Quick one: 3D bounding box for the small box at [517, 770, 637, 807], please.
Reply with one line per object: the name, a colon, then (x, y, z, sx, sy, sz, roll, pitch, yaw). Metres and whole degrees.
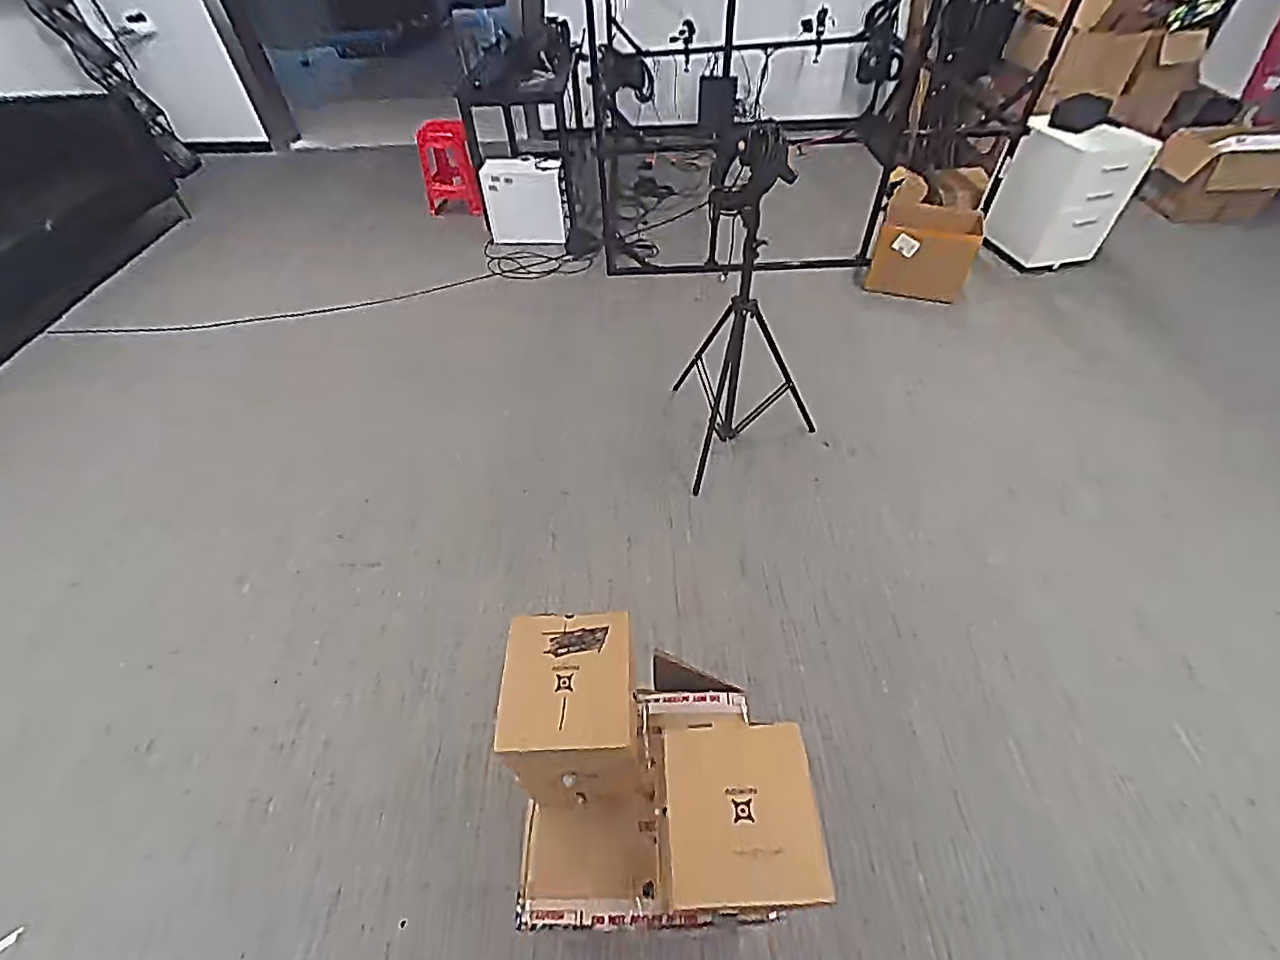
small box: (-0.096, 0.411, 0.878, 0.168, 0.176, 0.179, -6, 50, 0)

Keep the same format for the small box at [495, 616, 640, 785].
small box: (-0.088, 0.307, 0.750, 0.168, 0.176, 0.179, -3, 51, 2)

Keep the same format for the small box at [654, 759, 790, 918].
small box: (0.106, 0.518, 0.779, 0.168, 0.176, 0.179, -2, 49, 0)
